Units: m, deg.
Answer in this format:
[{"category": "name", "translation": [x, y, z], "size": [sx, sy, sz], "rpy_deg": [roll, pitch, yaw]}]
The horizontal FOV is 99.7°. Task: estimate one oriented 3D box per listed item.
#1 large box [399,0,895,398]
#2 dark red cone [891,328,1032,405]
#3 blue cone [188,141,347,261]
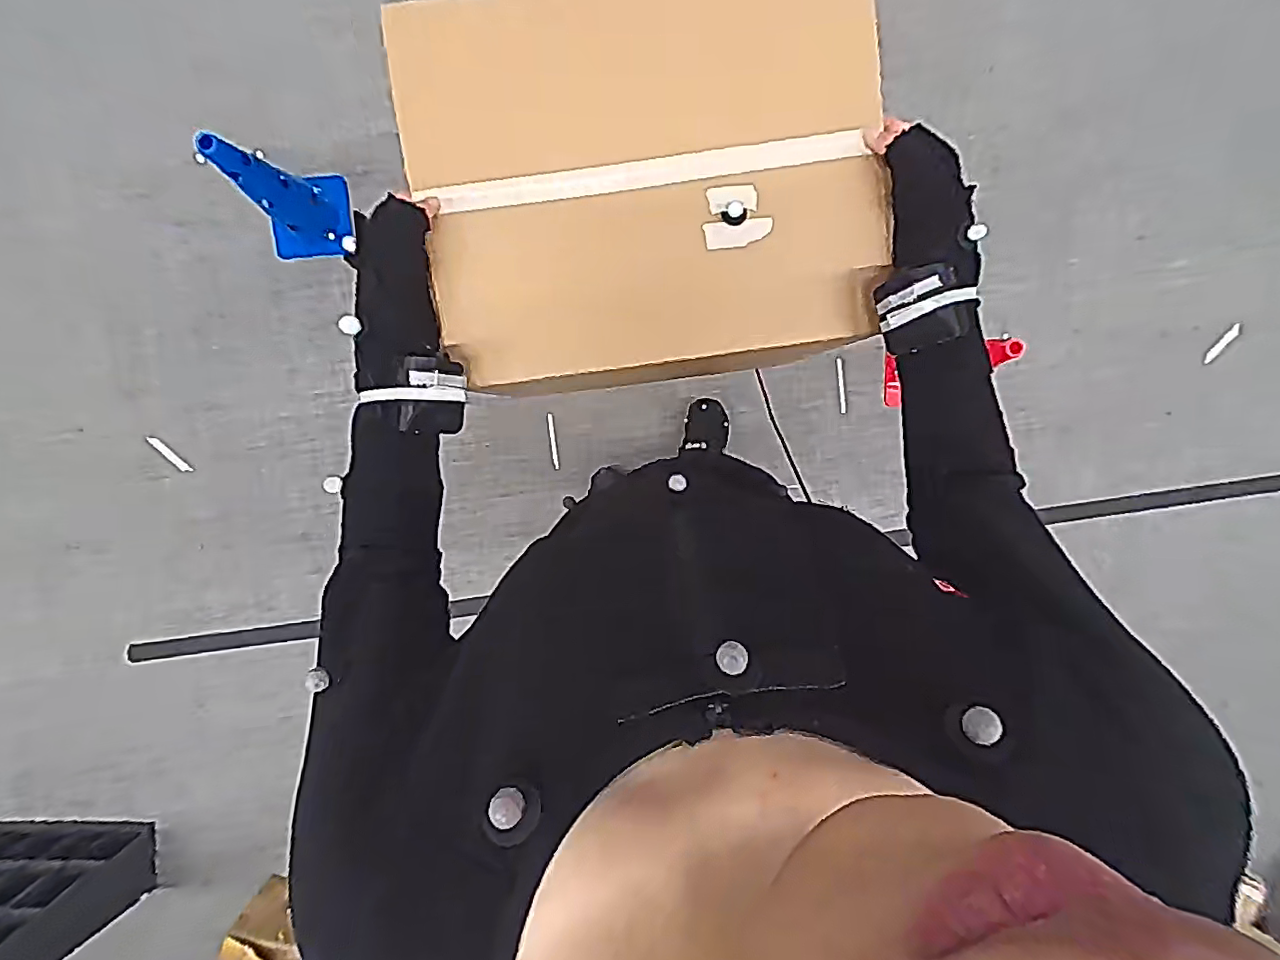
[{"category": "large box", "translation": [0.008, -0.280, 0.615], "size": [0.408, 0.320, 0.320], "rpy_deg": [-8, 97, -1]}, {"category": "dark red cone", "translation": [0.774, -0.291, 1.285], "size": [0.201, 0.394, 0.202], "rpy_deg": [-2, 94, -1]}, {"category": "blue cone", "translation": [-0.855, -0.658, 1.235], "size": [0.192, 0.380, 0.193], "rpy_deg": [-4, 94, -1]}]
